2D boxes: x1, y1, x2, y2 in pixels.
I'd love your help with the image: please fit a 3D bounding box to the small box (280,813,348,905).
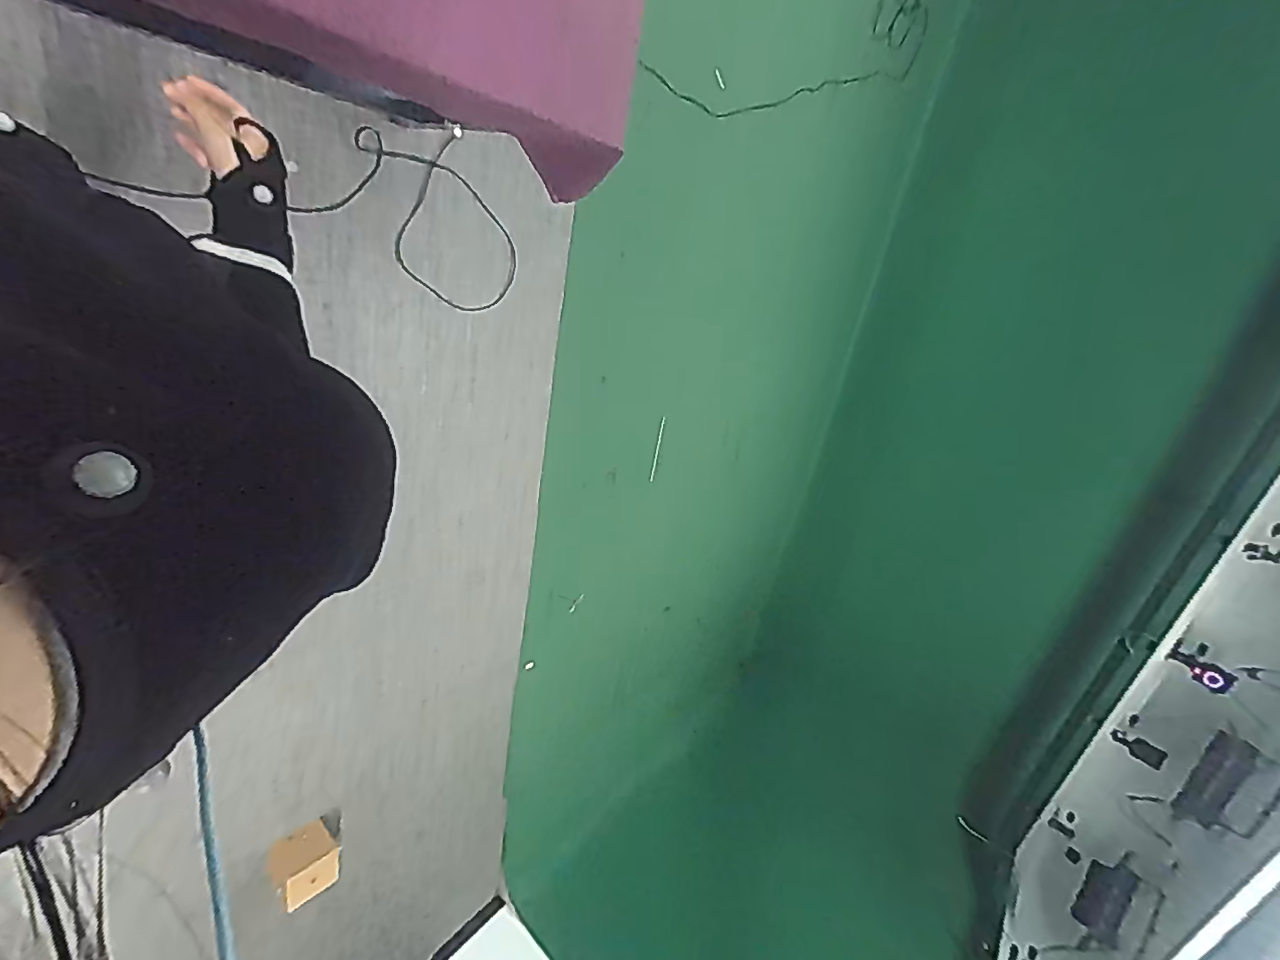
[{"bbox_3d":[-1.182,1.365,1.961,0.168,0.176,0.179,-15,123,-49],"label":"small box"}]
